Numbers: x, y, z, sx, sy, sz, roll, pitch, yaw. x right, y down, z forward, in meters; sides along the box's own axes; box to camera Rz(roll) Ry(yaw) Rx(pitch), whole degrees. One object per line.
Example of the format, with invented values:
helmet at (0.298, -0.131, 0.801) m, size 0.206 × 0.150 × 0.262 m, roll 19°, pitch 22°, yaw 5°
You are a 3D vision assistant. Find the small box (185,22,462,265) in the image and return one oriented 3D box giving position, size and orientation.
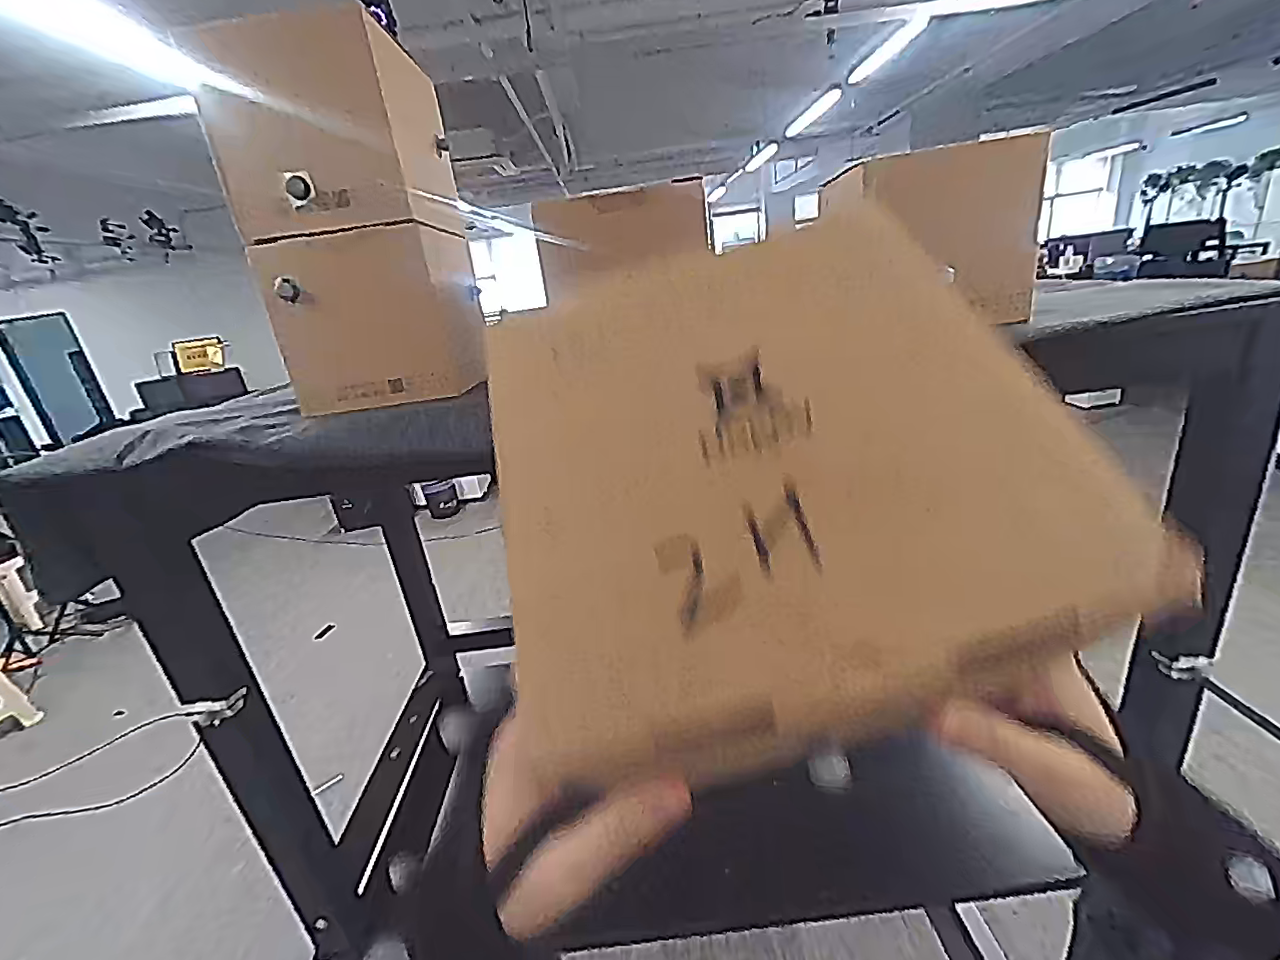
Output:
small box at (-0.298, -0.323, 0.559) m, size 0.168 × 0.176 × 0.179 m, roll -8°, pitch 20°, yaw 1°

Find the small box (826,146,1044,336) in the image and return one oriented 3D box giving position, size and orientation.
small box at (0.298, -0.244, 0.598) m, size 0.168 × 0.176 × 0.179 m, roll -6°, pitch 20°, yaw 6°

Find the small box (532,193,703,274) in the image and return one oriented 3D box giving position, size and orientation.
small box at (-0.013, -0.206, 0.608) m, size 0.168 × 0.176 × 0.179 m, roll -6°, pitch 19°, yaw 1°
